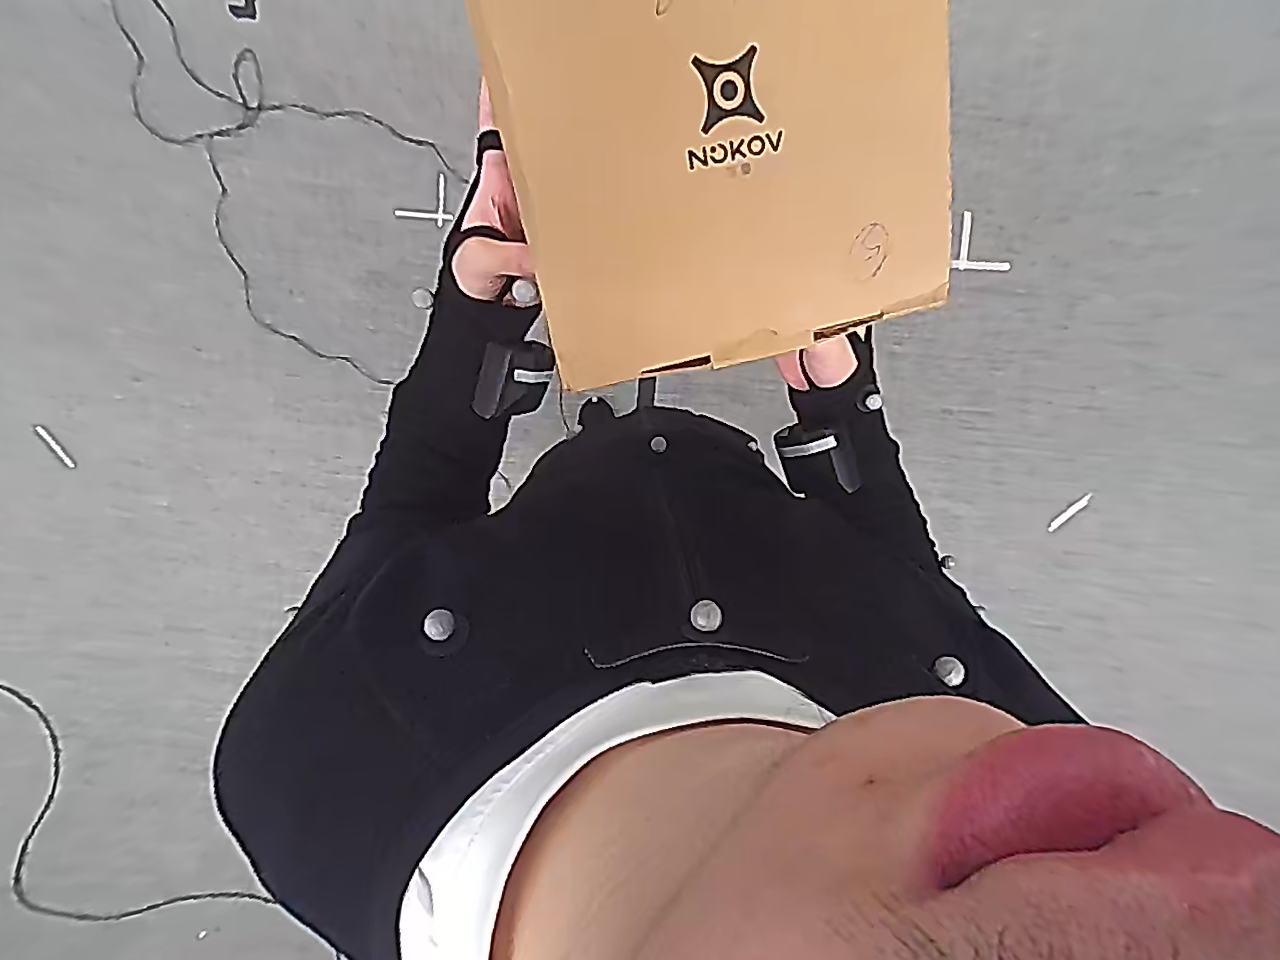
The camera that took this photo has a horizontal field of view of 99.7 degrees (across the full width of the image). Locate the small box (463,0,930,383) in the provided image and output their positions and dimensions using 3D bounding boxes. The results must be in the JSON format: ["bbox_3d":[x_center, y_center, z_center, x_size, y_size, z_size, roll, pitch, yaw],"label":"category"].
[{"bbox_3d":[0.019,-0.164,0.279,0.168,0.176,0.179,-15,109,-3],"label":"small box"}]
